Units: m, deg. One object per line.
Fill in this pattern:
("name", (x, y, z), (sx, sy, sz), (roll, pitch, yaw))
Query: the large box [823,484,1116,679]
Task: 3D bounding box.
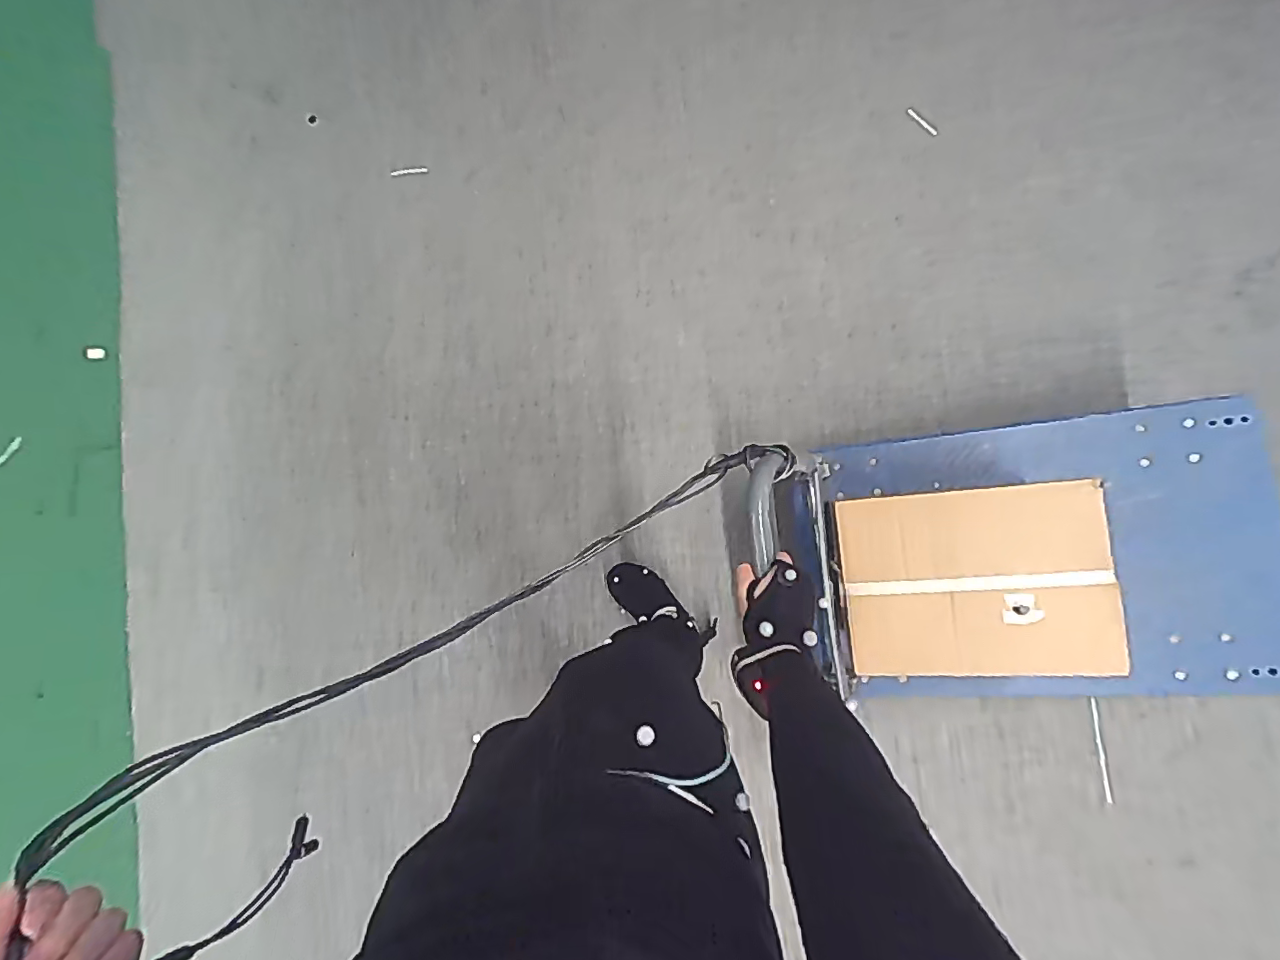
("large box", (0.590, 0.187, 1.060), (0.408, 0.320, 0.320), (-6, 87, 16))
